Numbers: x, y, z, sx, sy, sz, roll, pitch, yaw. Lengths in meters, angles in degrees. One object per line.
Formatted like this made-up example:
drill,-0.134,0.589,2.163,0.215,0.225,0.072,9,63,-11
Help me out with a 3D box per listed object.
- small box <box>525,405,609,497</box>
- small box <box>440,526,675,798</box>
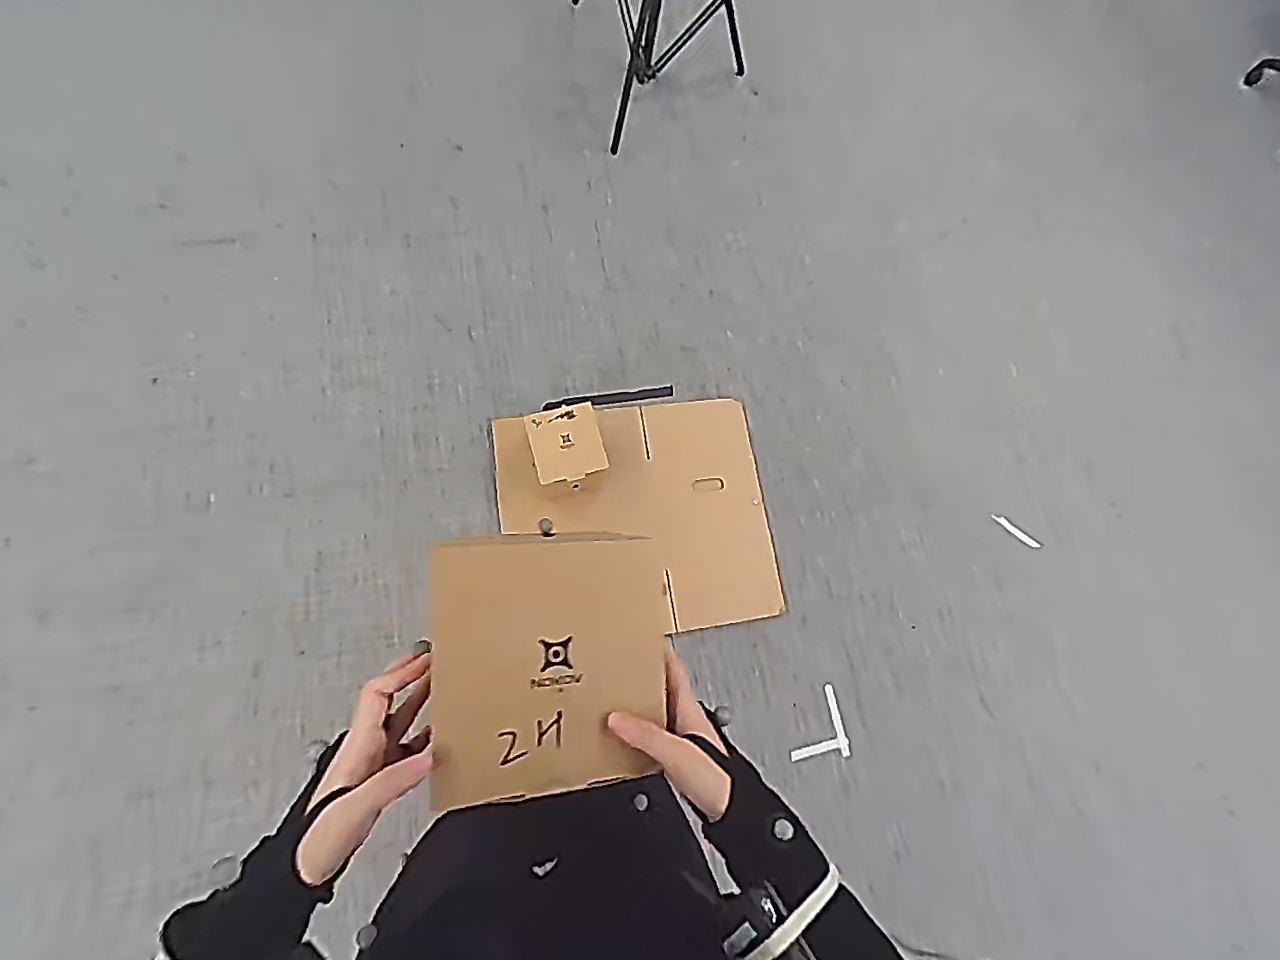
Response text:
small box,-0.180,-0.063,1.336,0.168,0.176,0.179,-15,79,-12
small box,-0.077,0.129,0.456,0.168,0.176,0.179,0,85,-17
